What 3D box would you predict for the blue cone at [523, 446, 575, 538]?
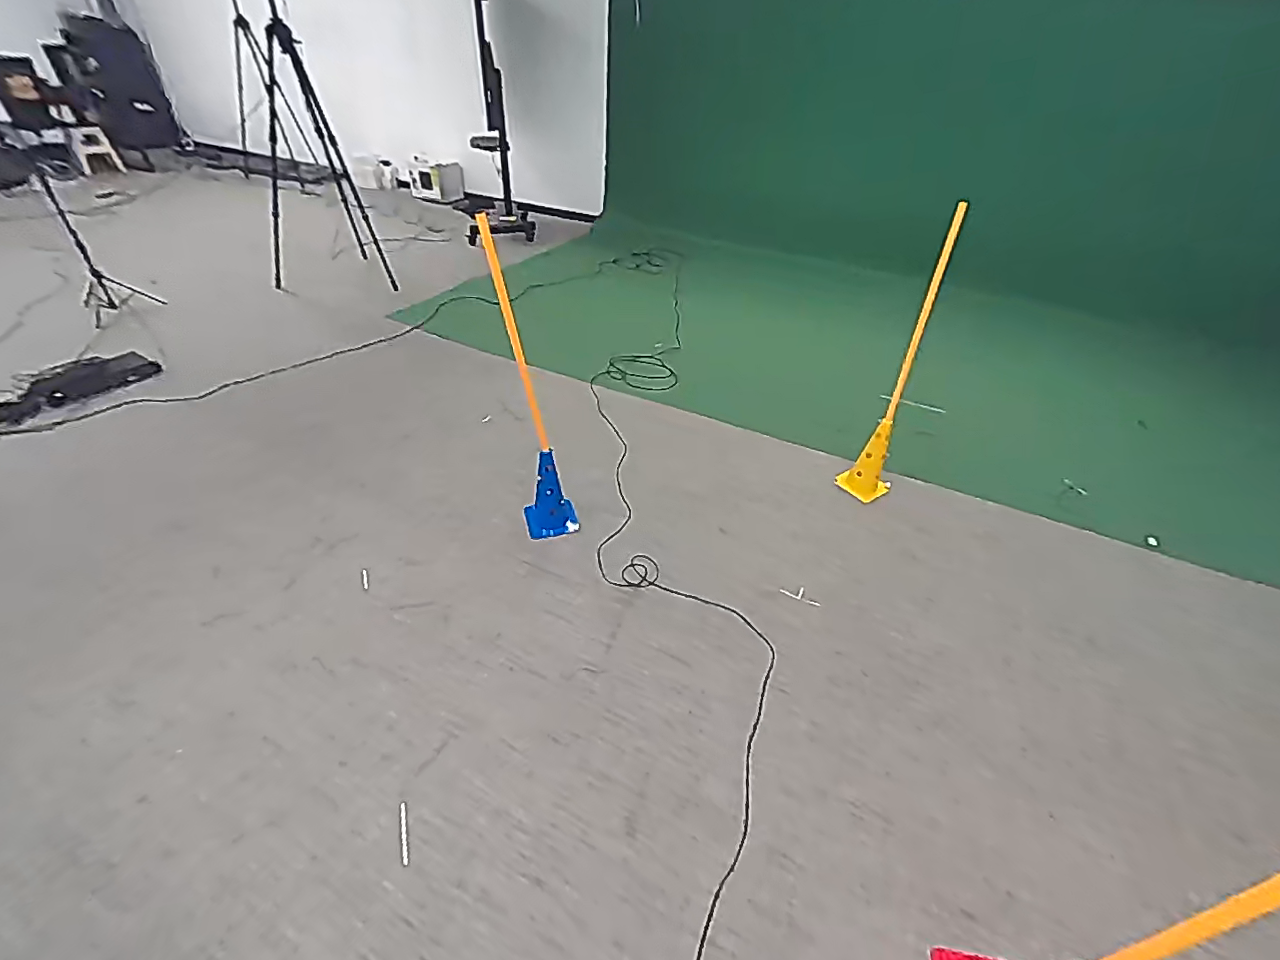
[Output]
[{"bbox_3d":[-0.363,0.035,2.100,0.193,0.380,0.192,-11,42,-16],"label":"blue cone"}]
